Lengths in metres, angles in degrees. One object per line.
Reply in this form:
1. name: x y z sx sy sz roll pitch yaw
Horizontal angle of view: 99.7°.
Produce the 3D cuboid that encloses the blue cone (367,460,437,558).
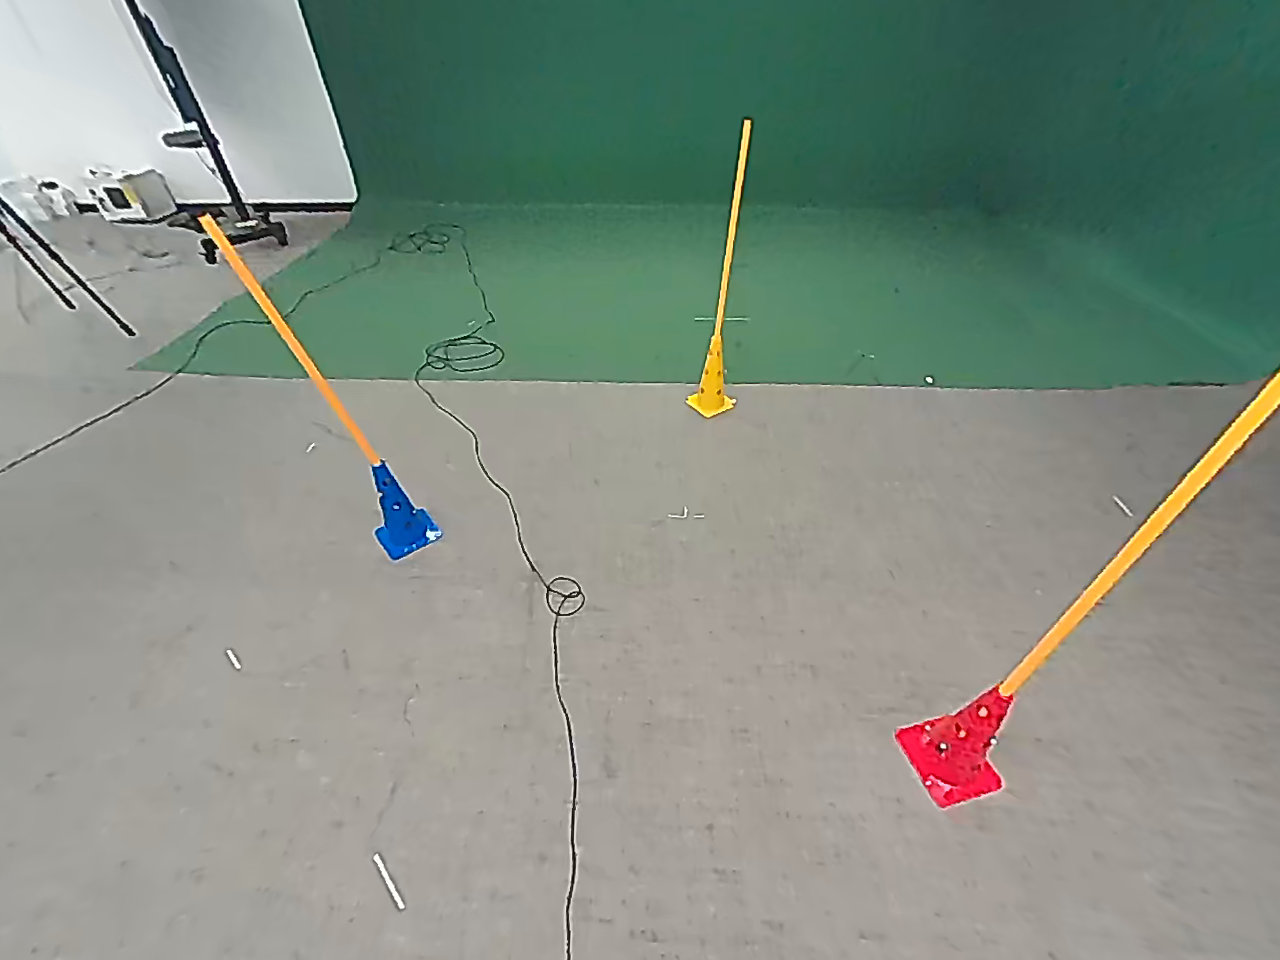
1. blue cone: -0.887 0.085 1.934 0.193 0.380 0.192 -33 51 -28
